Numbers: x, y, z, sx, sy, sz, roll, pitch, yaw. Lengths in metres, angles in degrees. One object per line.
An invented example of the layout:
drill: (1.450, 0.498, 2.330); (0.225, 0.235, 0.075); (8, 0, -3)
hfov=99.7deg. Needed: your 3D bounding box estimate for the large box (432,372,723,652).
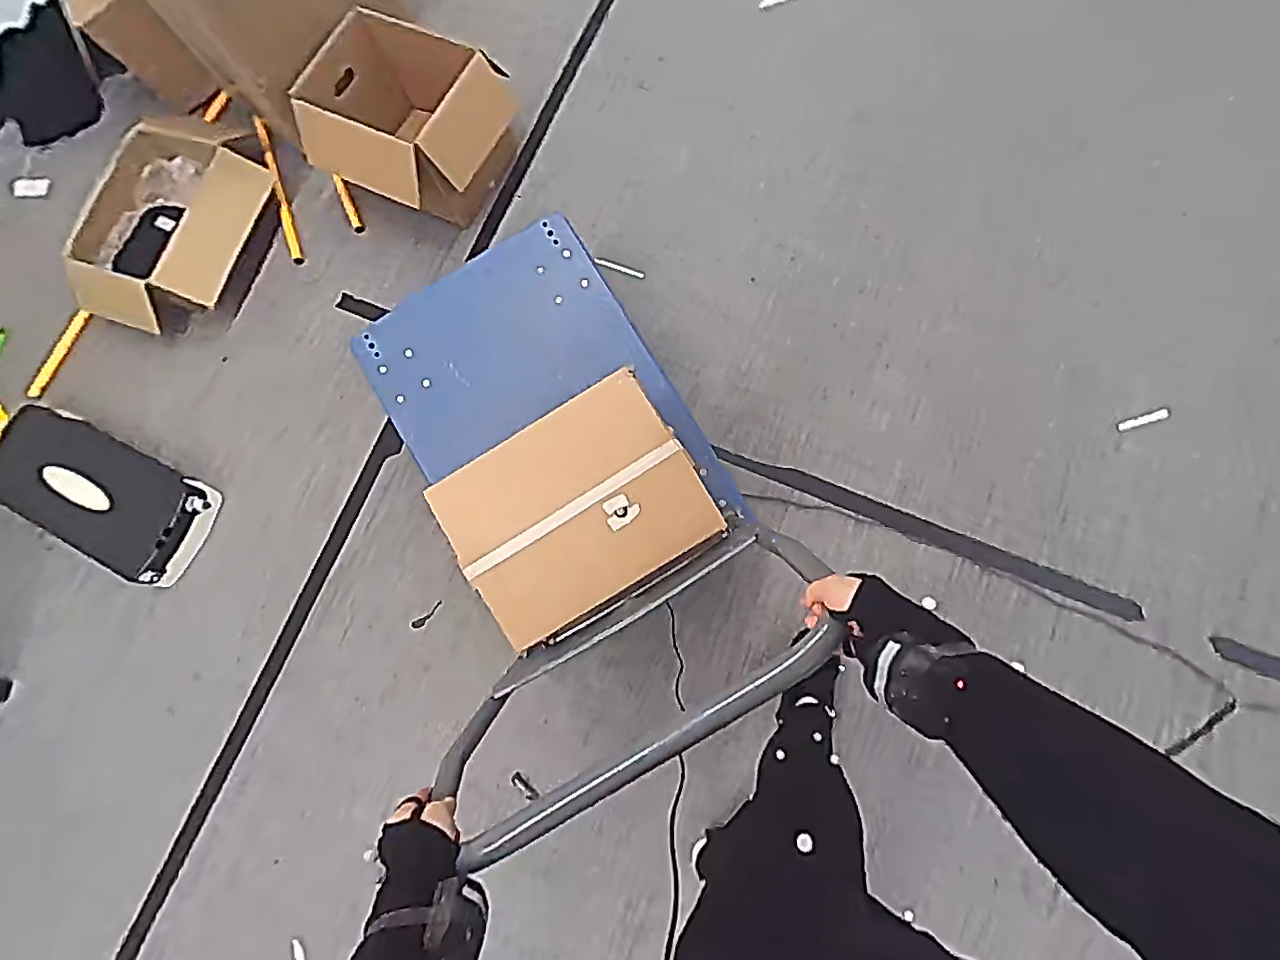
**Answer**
large box: (-0.101, 0.062, 1.043); (0.408, 0.320, 0.320); (-32, 87, 0)
